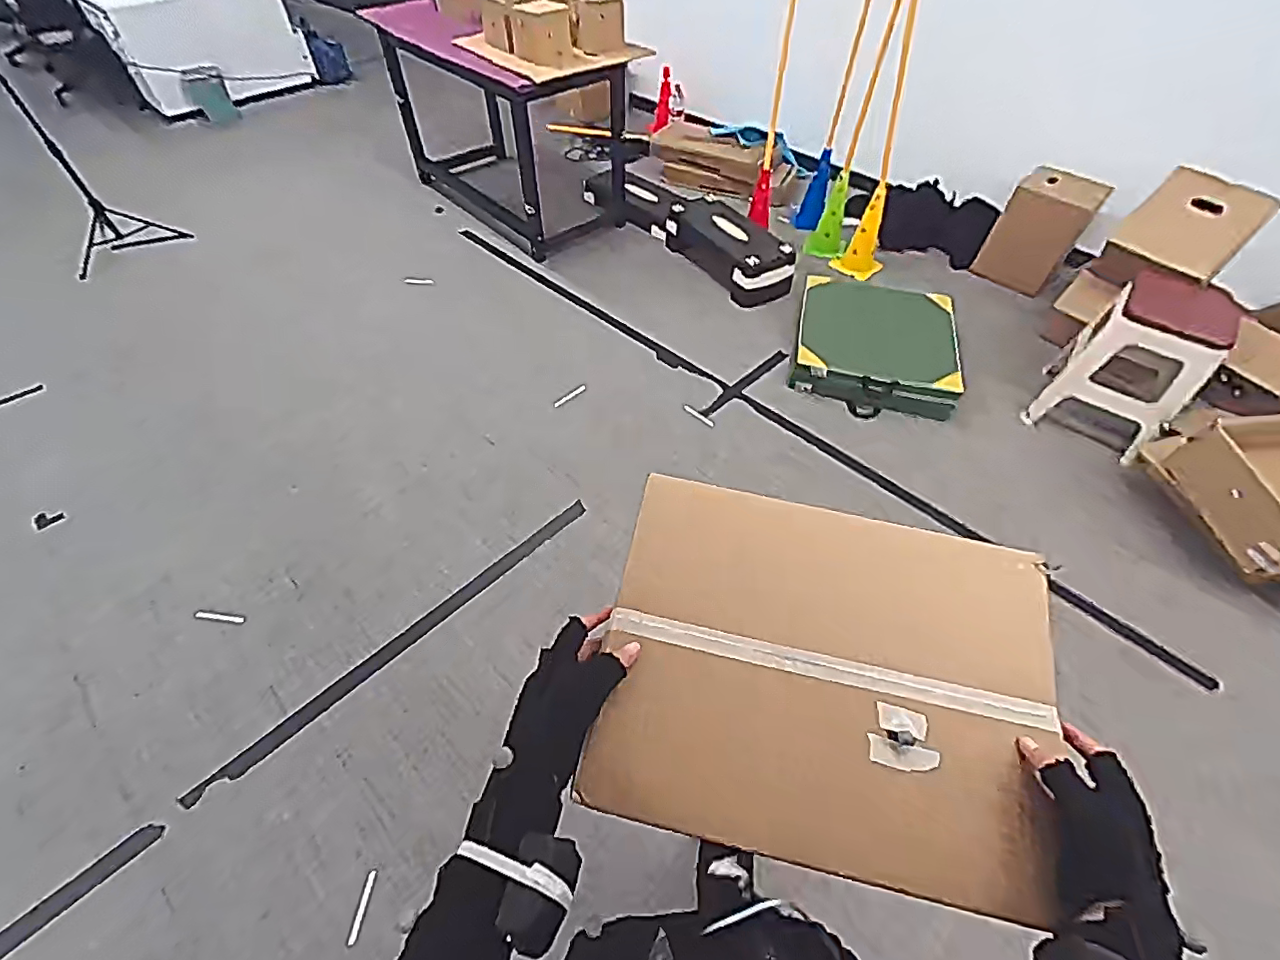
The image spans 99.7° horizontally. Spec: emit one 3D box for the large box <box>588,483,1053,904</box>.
[{"bbox_3d":[0.173,0.236,0.652,0.408,0.320,0.320,12,67,5],"label":"large box"}]
